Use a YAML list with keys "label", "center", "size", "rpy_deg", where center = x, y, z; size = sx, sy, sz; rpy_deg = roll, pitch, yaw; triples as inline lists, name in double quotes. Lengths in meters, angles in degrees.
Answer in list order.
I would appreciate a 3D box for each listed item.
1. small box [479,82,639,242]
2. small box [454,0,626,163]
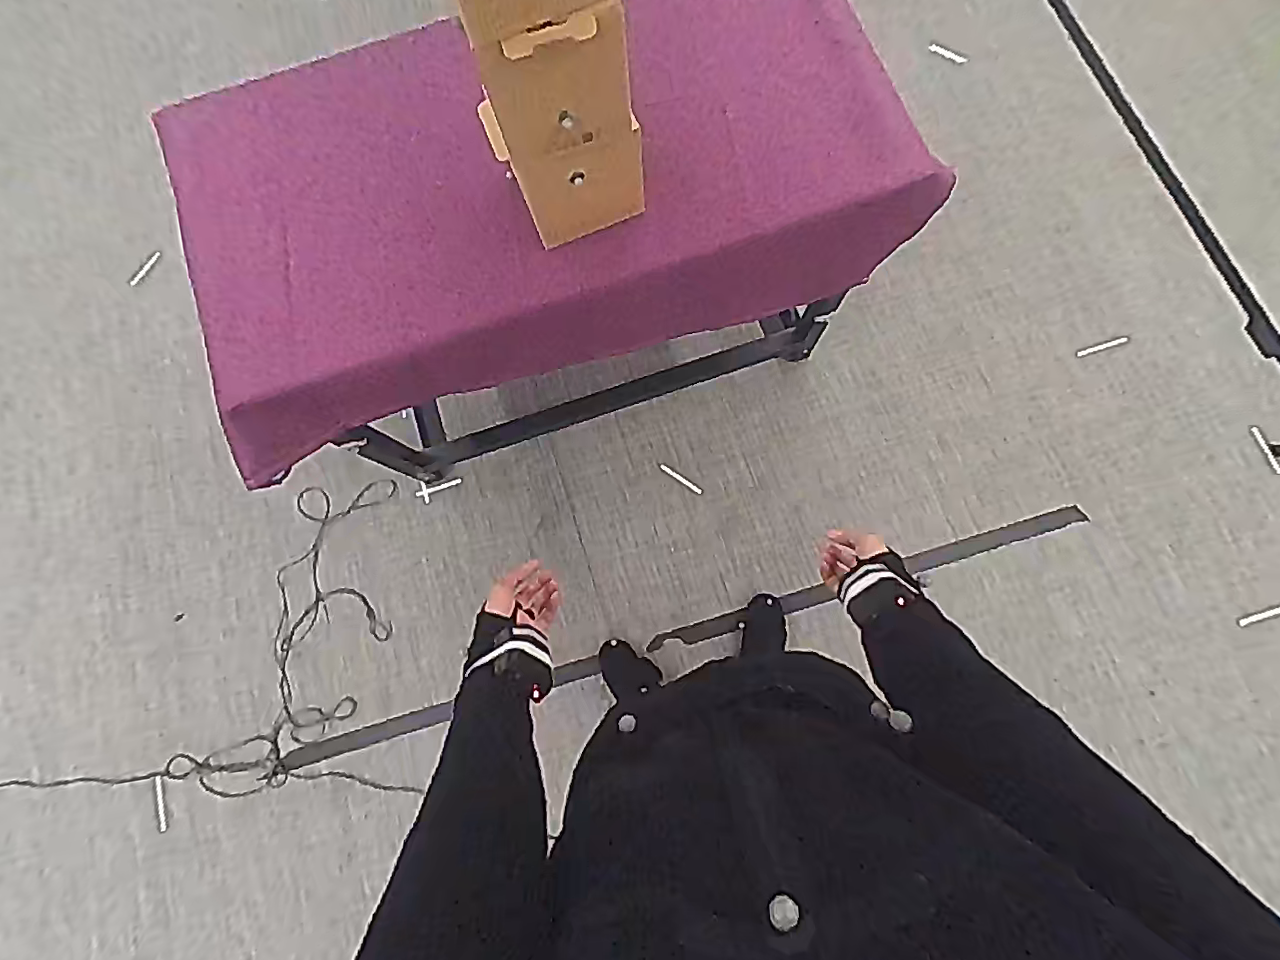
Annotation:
- label: "small box"
  center: [-0.111, -0.496, 0.813]
  size: [0.179, 0.176, 0.168]
  rpy_deg: [-22, 78, -2]
- label: "small box"
  center: [-0.121, -0.532, 0.653]
  size: [0.168, 0.176, 0.179]
  rpy_deg: [-17, 78, 0]
